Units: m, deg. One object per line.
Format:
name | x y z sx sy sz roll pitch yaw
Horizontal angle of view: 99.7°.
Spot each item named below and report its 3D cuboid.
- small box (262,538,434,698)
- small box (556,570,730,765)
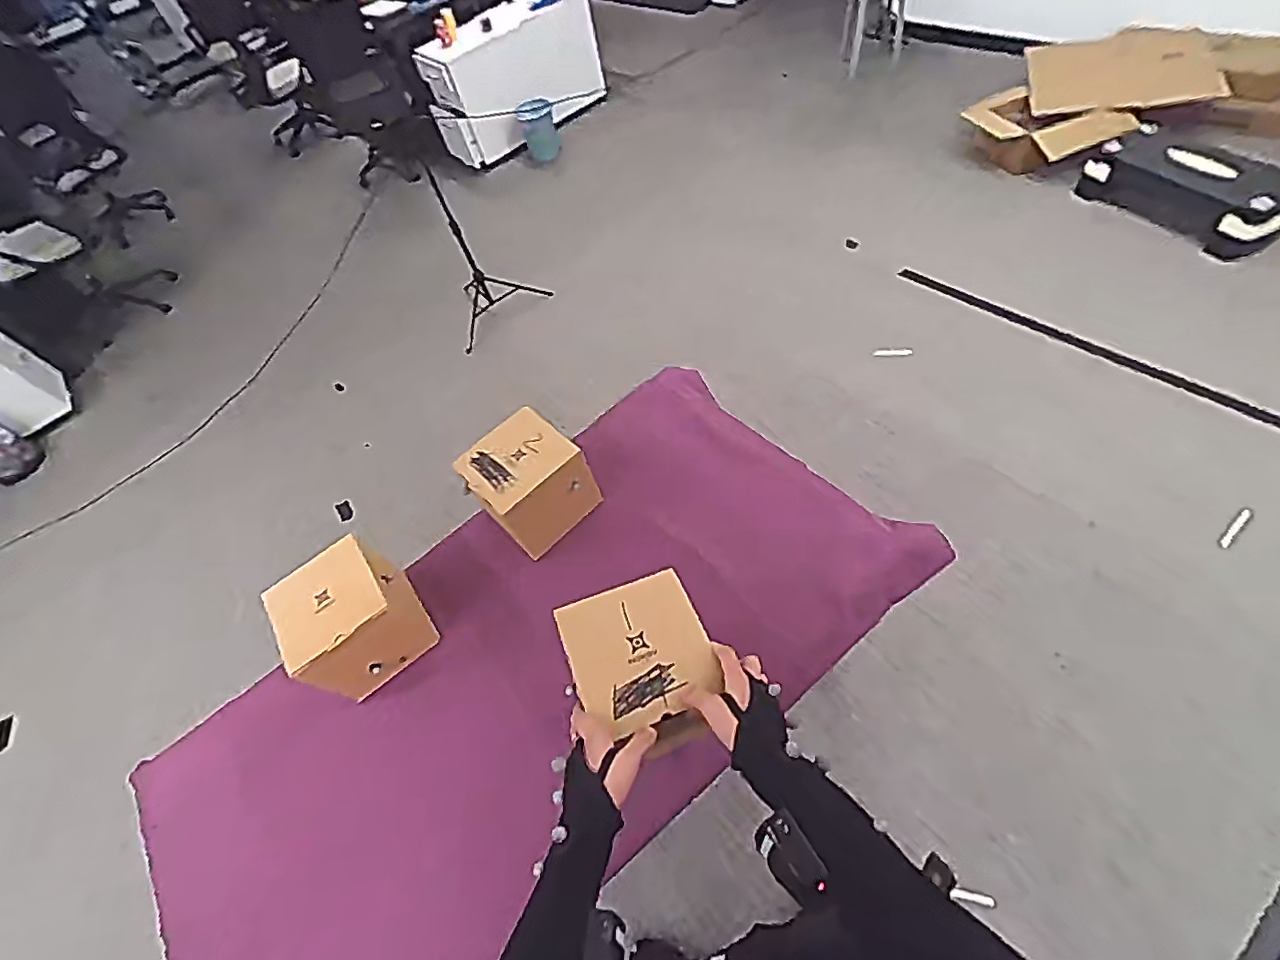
small box | -0.485 0.237 0.913 0.168 0.176 0.179 -38 57 -14
small box | 0.000 0.252 0.707 0.168 0.176 0.179 -17 54 -12
